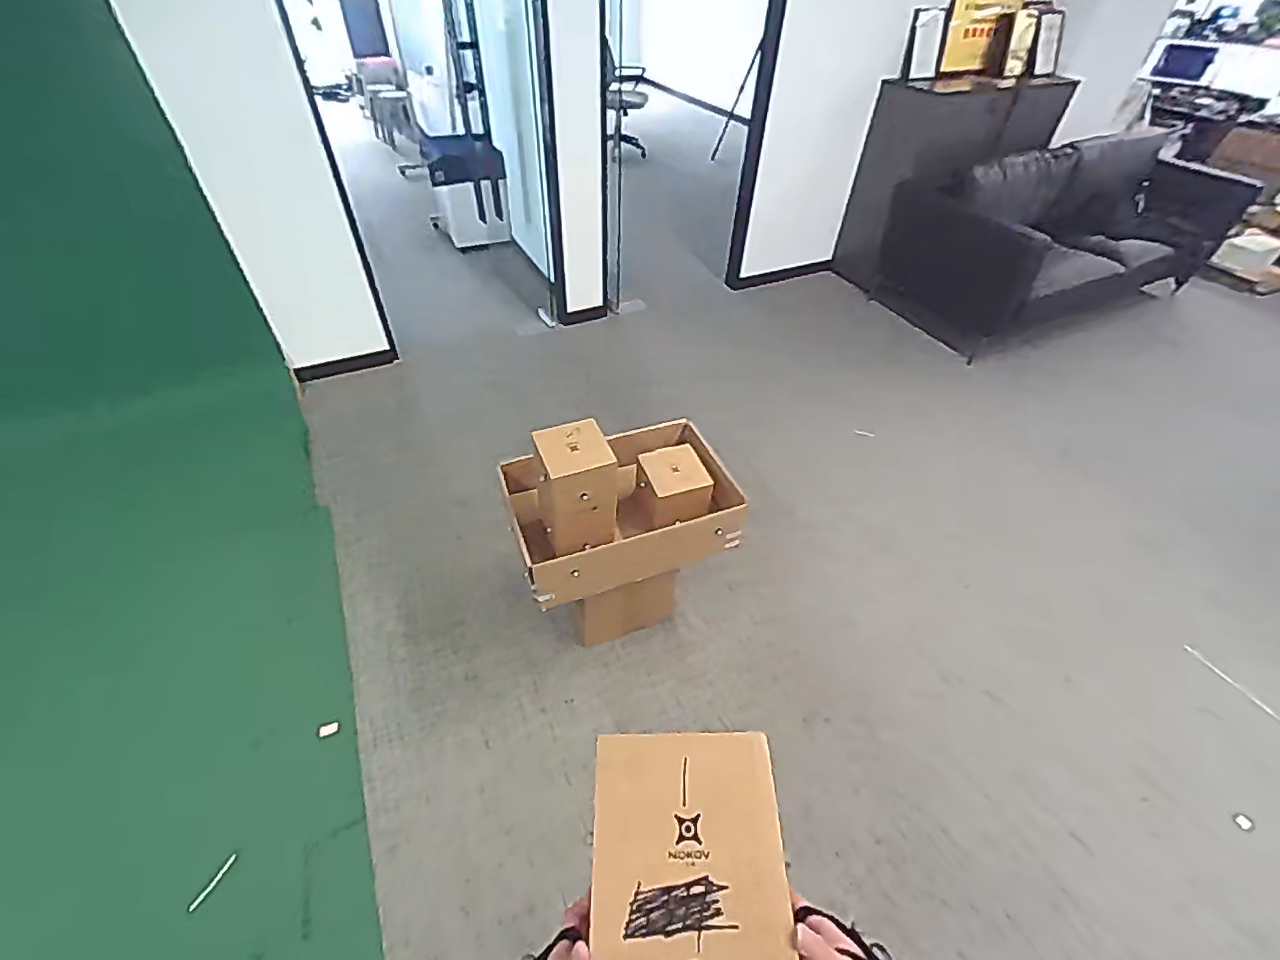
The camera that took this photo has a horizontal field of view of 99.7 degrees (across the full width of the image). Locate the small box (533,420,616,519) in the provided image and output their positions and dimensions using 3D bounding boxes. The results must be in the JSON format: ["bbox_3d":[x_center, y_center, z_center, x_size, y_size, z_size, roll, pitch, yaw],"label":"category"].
[{"bbox_3d":[-0.164,-0.020,1.368,0.168,0.176,0.179,-15,49,-18],"label":"small box"}]

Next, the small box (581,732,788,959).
[{"bbox_3d":[0.039,0.363,0.532,0.168,0.176,0.179,0,51,1],"label":"small box"}]
